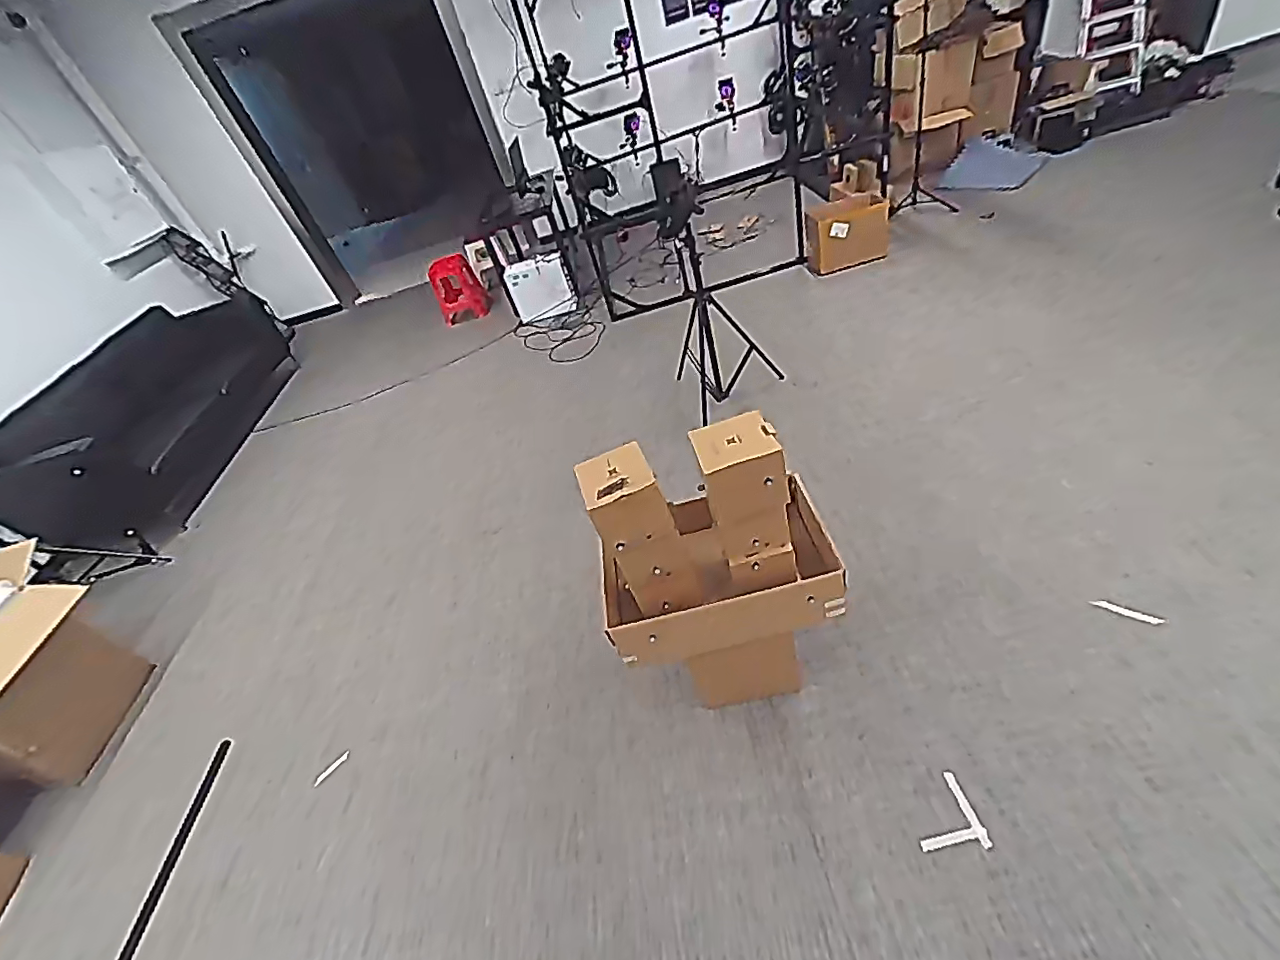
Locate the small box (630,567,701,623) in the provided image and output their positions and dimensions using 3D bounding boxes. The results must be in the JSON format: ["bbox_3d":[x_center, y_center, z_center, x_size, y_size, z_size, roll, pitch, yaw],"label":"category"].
[{"bbox_3d":[0.055,0.265,1.510,0.168,0.176,0.179,-22,40,-1],"label":"small box"}]

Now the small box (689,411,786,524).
[{"bbox_3d":[0.229,-0.027,1.252,0.179,0.176,0.168,-18,39,4],"label":"small box"}]

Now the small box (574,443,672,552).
[{"bbox_3d":[-0.038,0.048,1.281,0.168,0.176,0.179,-23,40,-2],"label":"small box"}]

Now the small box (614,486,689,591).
[{"bbox_3d":[0.015,0.153,1.397,0.168,0.176,0.179,-21,41,0],"label":"small box"}]
